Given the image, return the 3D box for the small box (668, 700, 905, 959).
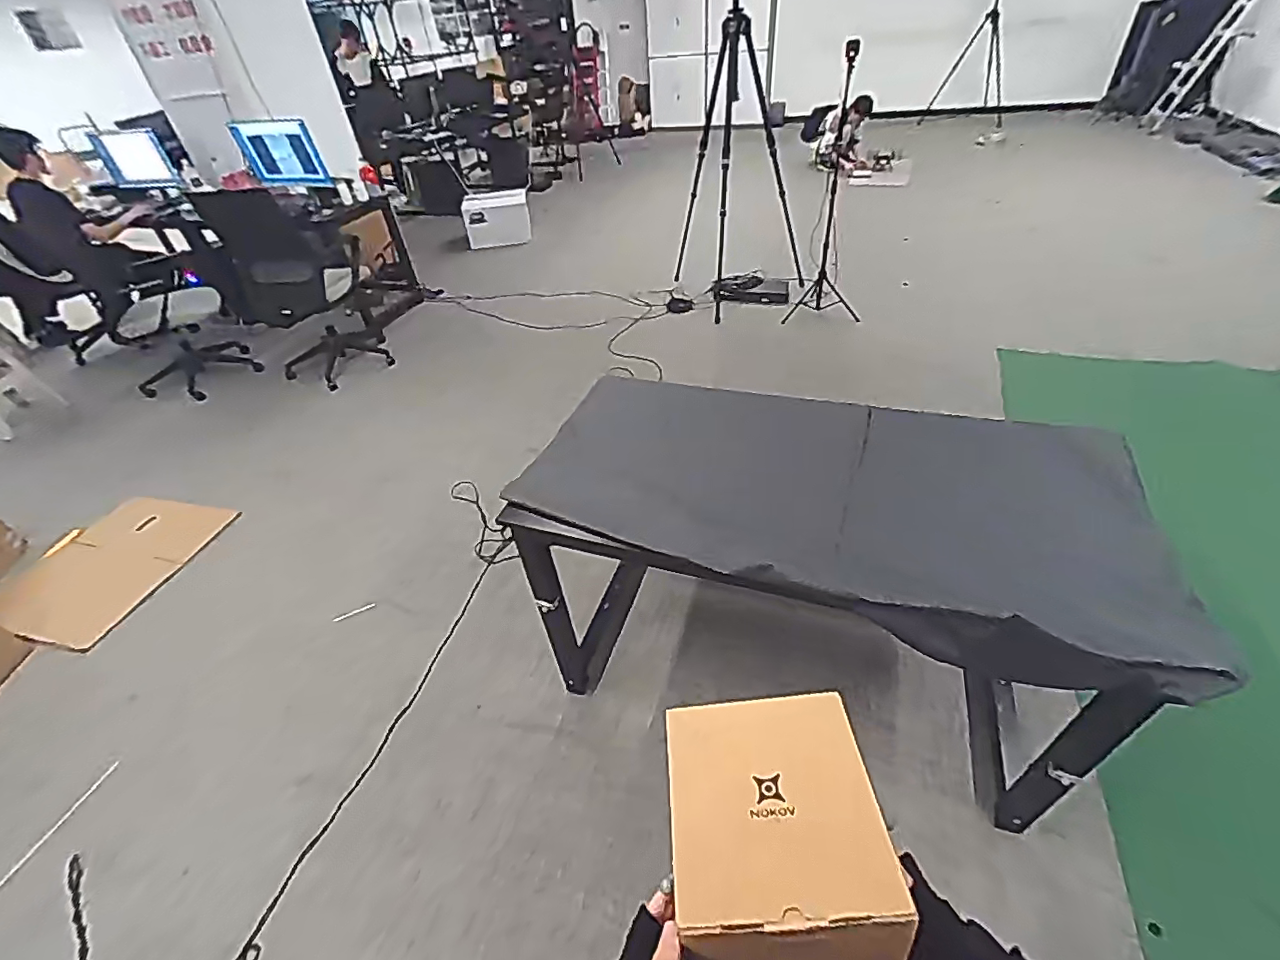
[{"bbox_3d":[0.117,0.333,0.496,0.168,0.176,0.179,-7,34,5],"label":"small box"}]
